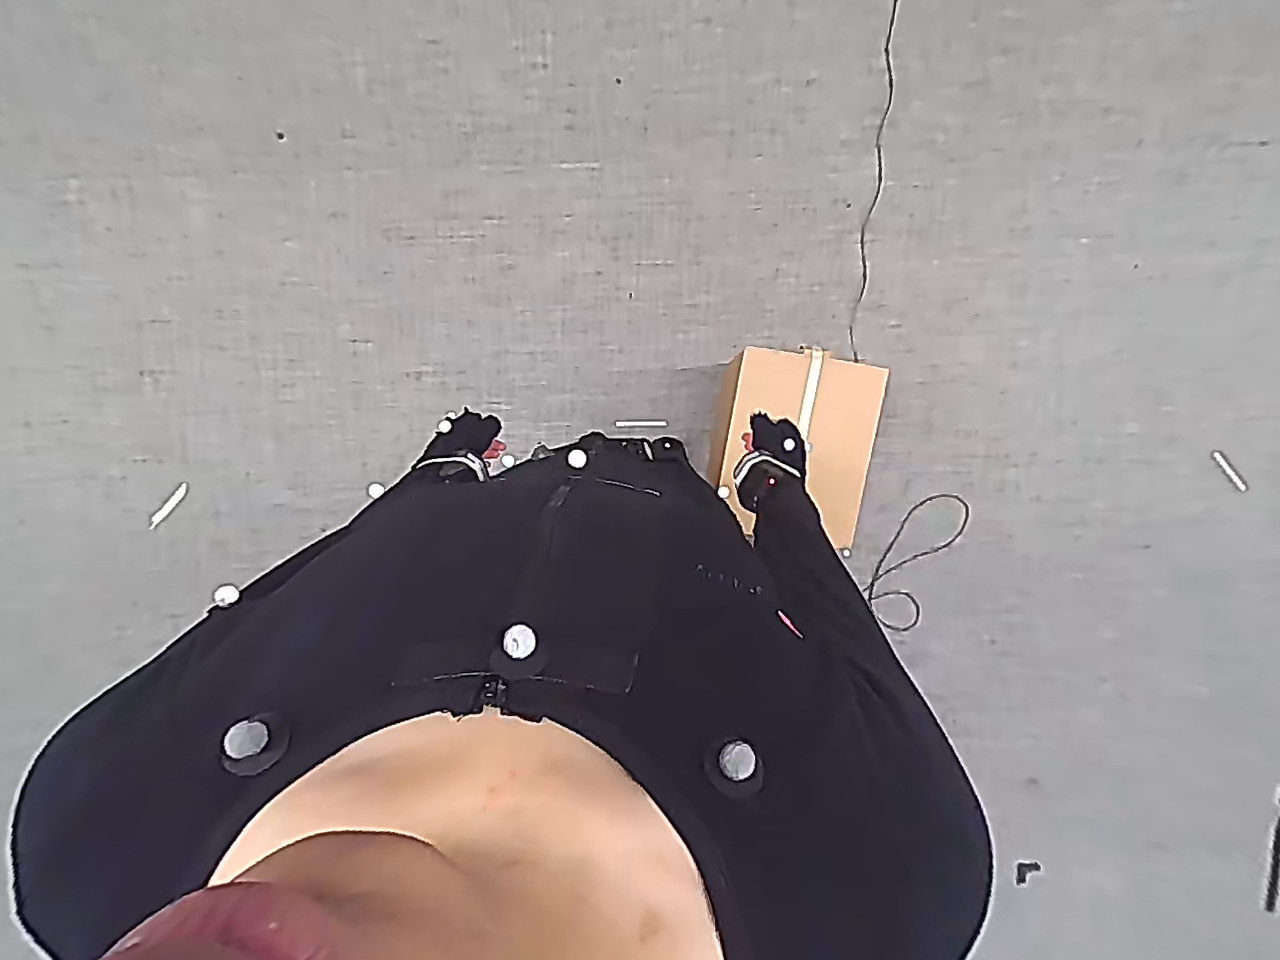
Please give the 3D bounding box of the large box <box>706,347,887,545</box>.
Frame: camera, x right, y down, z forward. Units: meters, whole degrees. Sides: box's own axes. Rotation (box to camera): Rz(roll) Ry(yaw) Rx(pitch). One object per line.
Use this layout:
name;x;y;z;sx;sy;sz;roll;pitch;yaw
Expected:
large box;0.360;-0.090;1.338;0.320;0.320;0.408;10;97;1
